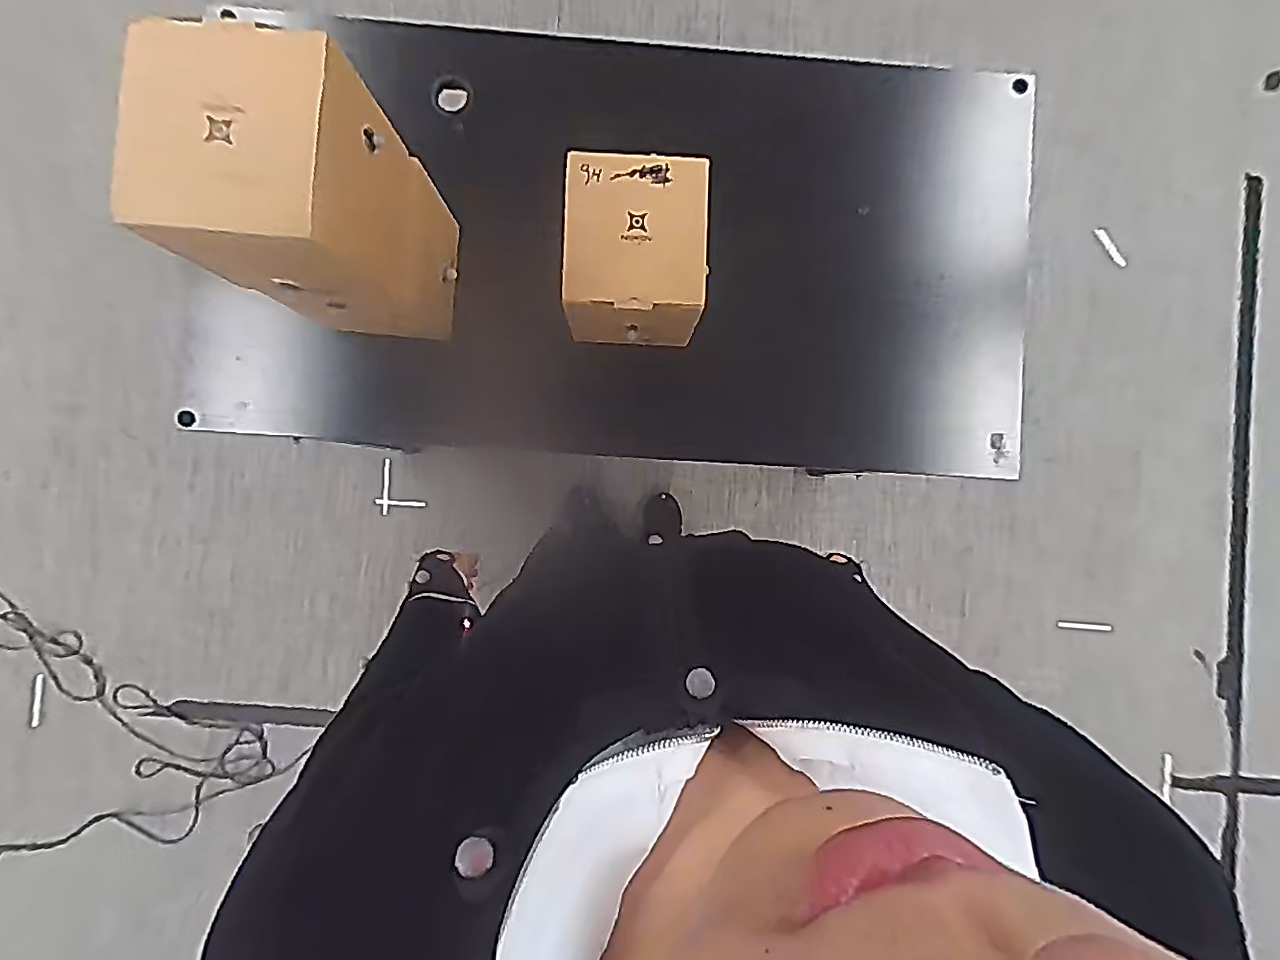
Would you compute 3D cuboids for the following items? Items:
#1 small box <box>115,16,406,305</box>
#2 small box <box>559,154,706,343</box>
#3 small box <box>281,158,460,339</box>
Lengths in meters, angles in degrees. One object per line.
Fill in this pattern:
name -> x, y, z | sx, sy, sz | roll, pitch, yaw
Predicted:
small box -> -0.344, -0.290, 0.526 | 0.168, 0.176, 0.179 | 4, 90, -1
small box -> -0.010, -0.285, 0.702 | 0.168, 0.176, 0.179 | 2, 89, -2
small box -> -0.347, -0.288, 0.689 | 0.179, 0.176, 0.168 | 5, 89, -3
